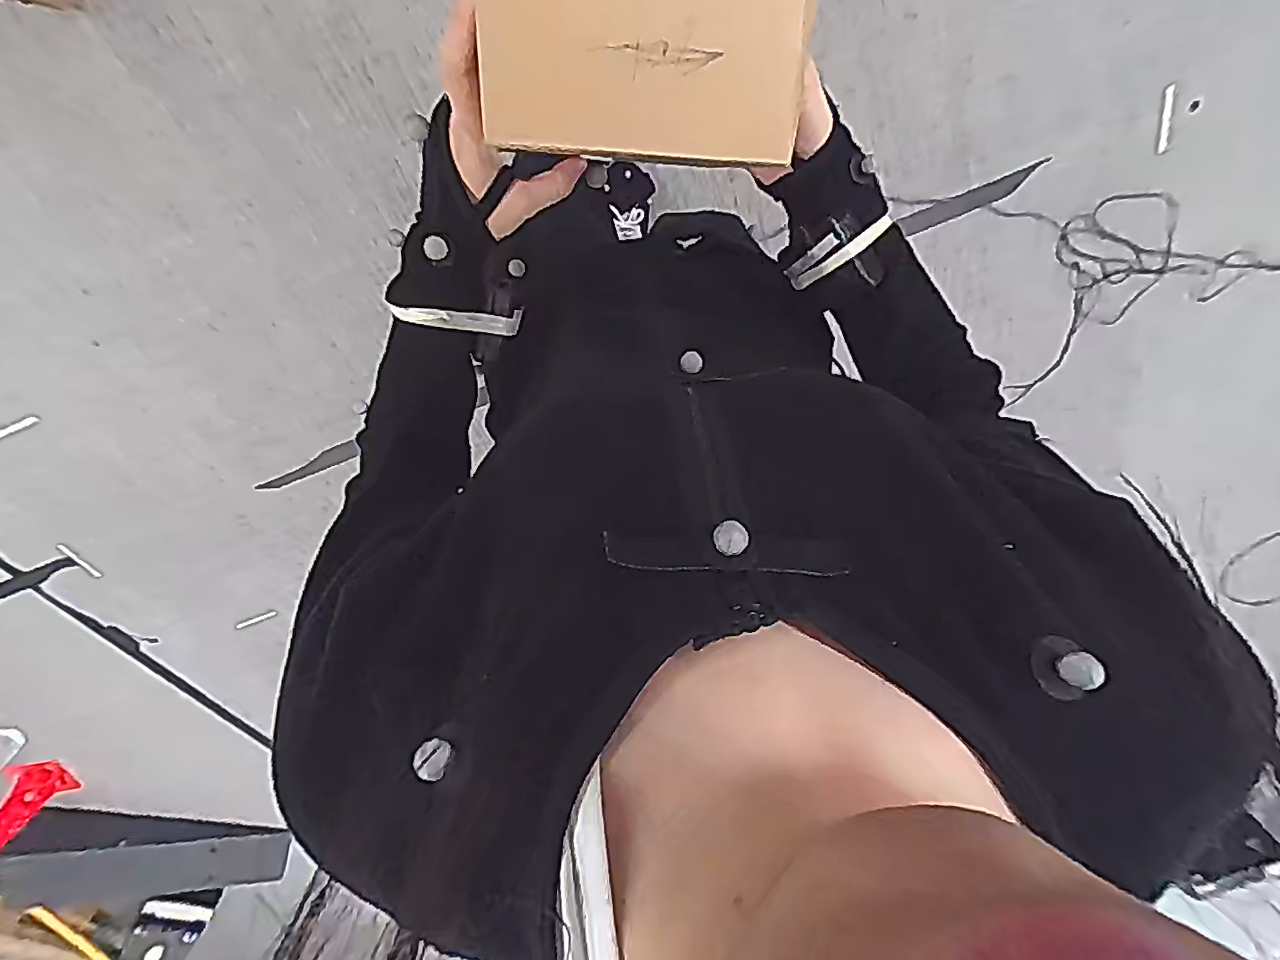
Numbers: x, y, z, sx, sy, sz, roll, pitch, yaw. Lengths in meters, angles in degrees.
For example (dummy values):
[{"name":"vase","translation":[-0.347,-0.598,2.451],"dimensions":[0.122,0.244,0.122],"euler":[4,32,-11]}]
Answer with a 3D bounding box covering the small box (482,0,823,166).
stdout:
[{"name":"small box","translation":[-0.004,-0.289,0.310],"dimensions":[0.168,0.176,0.179],"euler":[-2,120,-11]}]
